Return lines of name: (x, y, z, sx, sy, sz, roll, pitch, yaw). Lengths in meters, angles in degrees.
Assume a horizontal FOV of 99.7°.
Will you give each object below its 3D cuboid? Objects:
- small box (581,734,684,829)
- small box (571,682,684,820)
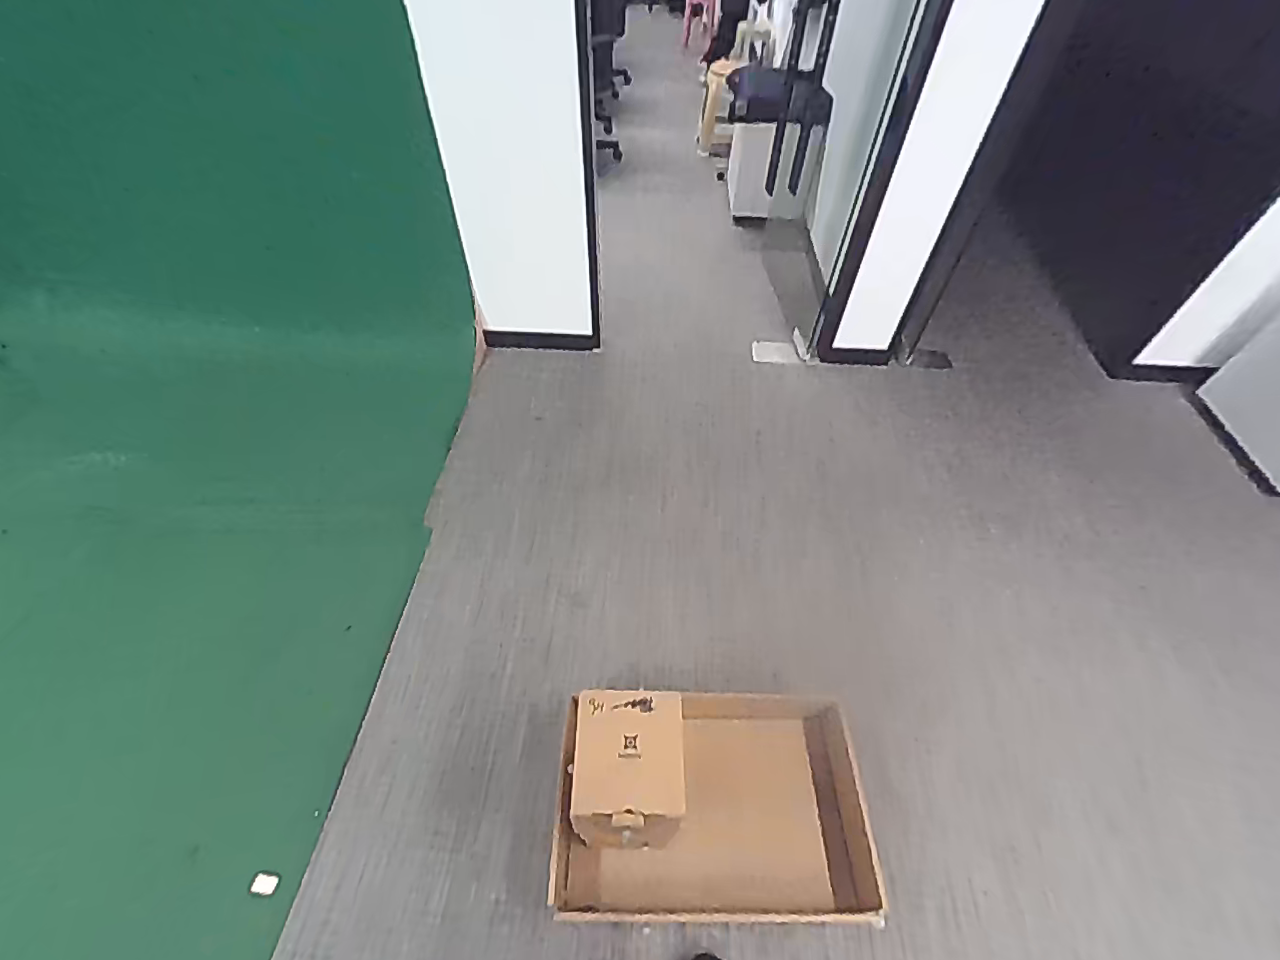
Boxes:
small box: (-0.013, 0.548, 1.017, 0.179, 0.176, 0.168, 1, 51, 0)
small box: (-0.017, 0.449, 0.888, 0.168, 0.176, 0.179, 2, 51, -1)
